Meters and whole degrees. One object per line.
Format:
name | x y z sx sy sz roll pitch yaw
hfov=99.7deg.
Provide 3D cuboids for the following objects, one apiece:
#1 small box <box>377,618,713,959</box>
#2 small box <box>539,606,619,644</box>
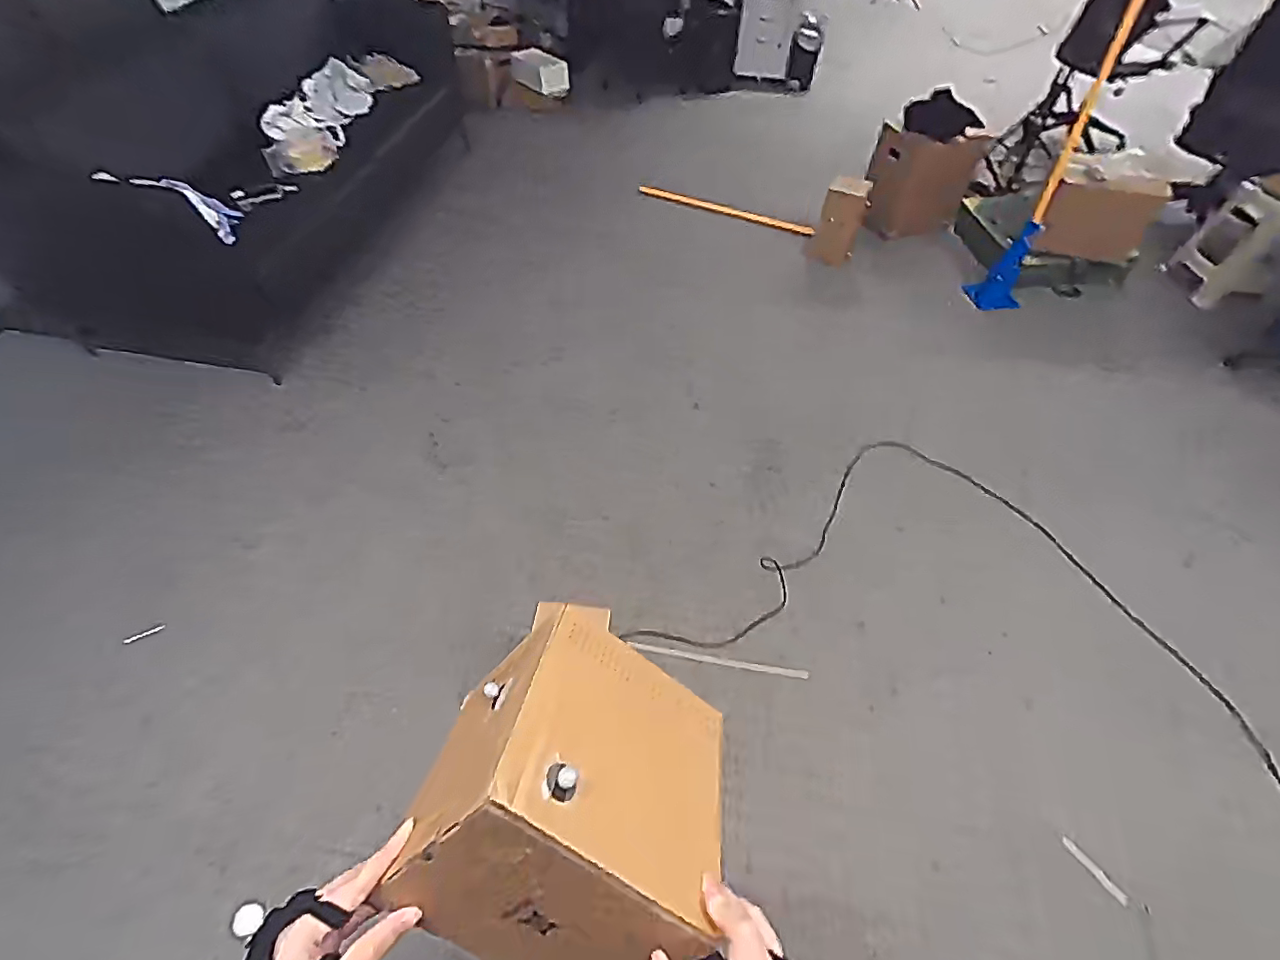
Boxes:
small box | -0.056 0.245 0.427 0.179 0.168 0.176 39 26 -9
small box | -0.140 0.408 1.220 0.168 0.176 0.179 5 52 4
